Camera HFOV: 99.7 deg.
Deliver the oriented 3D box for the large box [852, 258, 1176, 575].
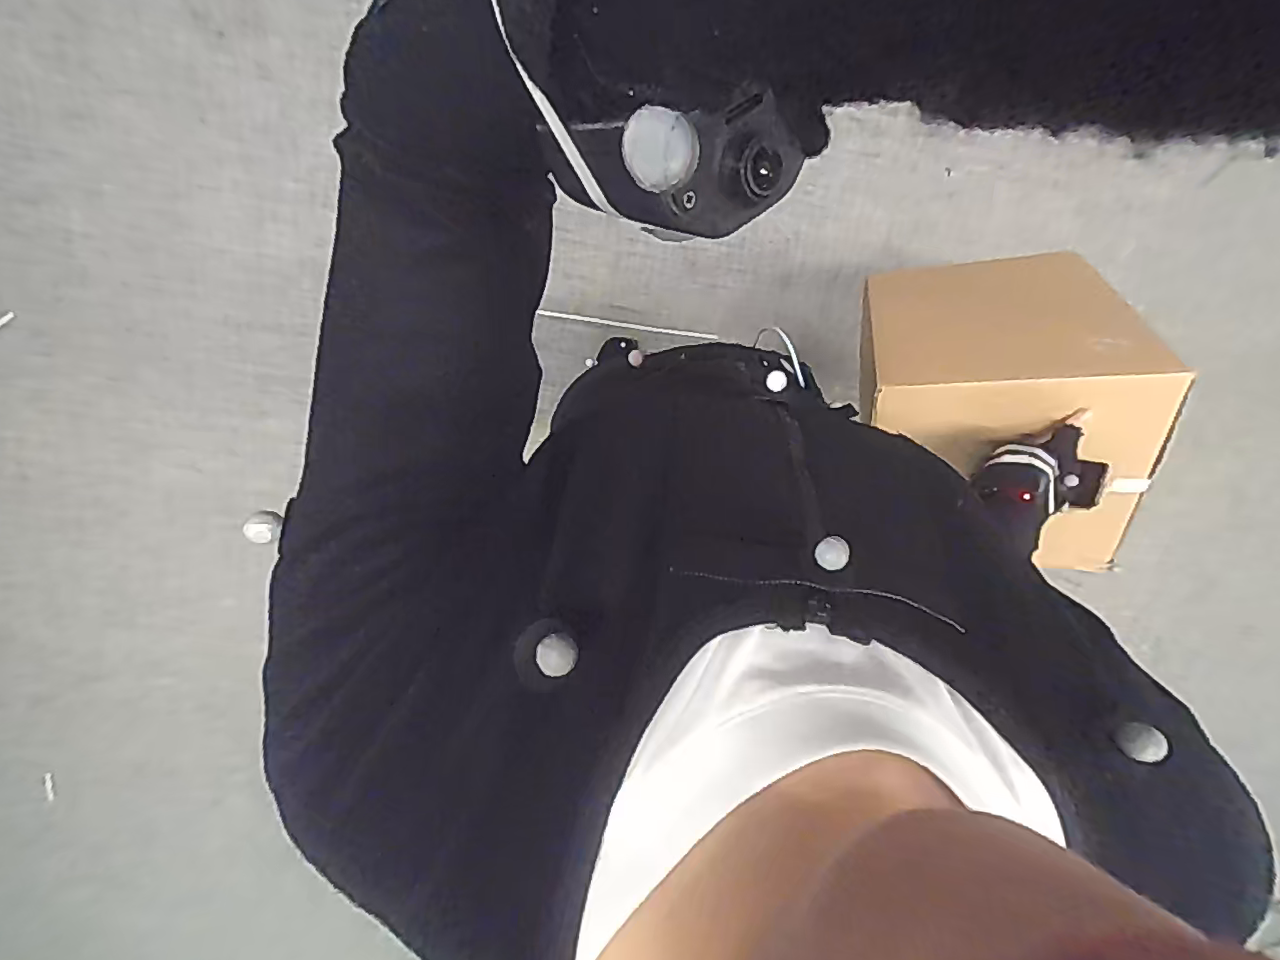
[{"bbox_3d":[0.510,-0.116,0.852,0.320,0.408,0.320,2,129,21],"label":"large box"}]
